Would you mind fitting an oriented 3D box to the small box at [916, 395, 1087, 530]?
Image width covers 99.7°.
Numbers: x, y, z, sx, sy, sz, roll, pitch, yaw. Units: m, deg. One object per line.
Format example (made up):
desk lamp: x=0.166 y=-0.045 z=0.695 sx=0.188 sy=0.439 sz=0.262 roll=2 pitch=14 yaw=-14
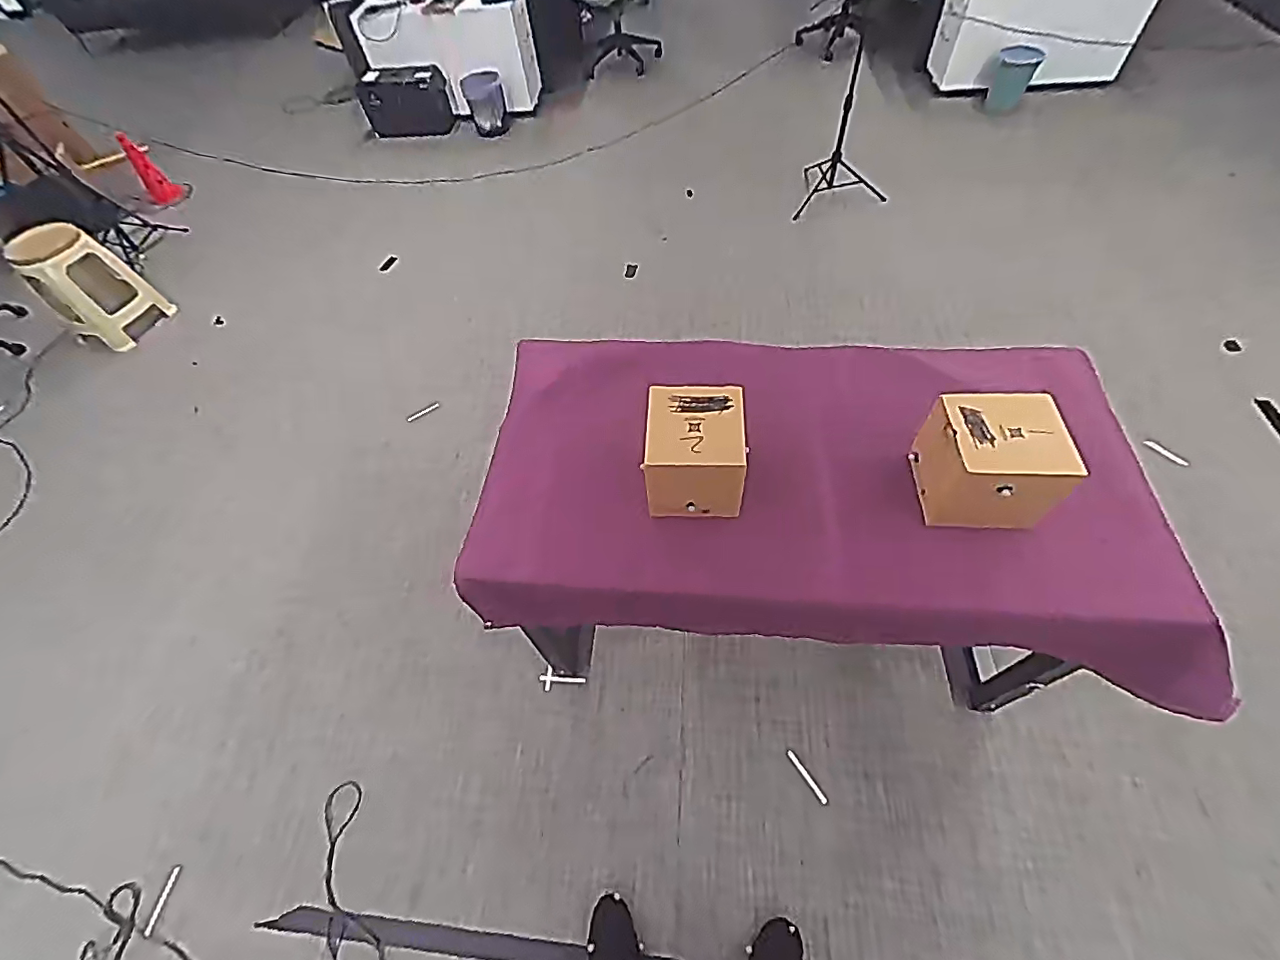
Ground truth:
small box: x=0.590 y=-0.026 z=0.917 sx=0.179 sy=0.176 sz=0.168 roll=1 pitch=56 yaw=6
